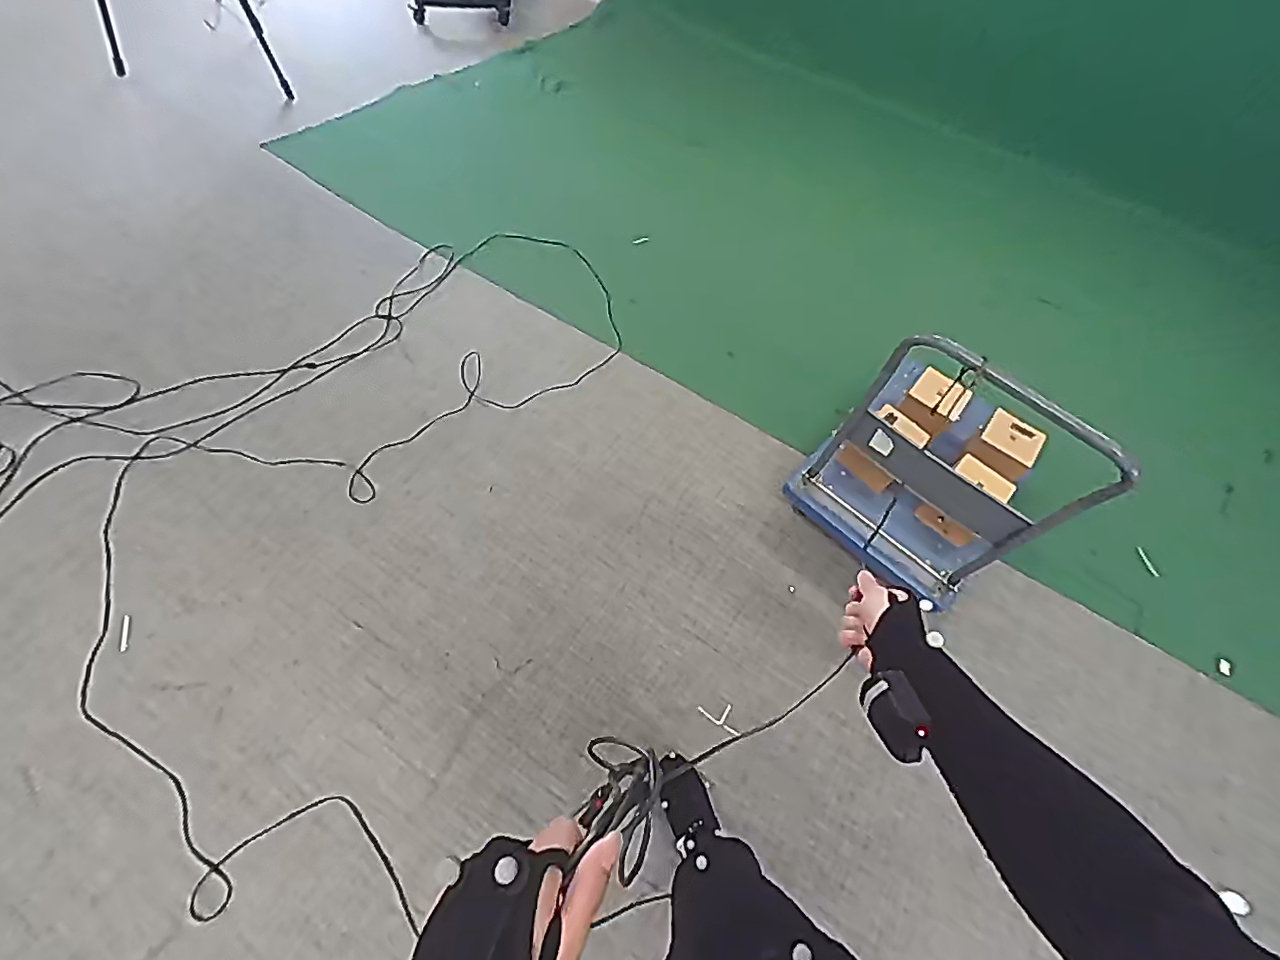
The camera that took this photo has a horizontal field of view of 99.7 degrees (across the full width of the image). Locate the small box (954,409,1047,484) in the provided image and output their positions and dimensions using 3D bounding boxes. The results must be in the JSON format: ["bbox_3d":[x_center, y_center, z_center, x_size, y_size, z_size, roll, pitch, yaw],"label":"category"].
[{"bbox_3d":[1.166,-0.090,1.759,0.168,0.176,0.179,37,61,16],"label":"small box"}]

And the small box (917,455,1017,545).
[{"bbox_3d":[0.981,0.064,1.635,0.168,0.176,0.179,42,62,18],"label":"small box"}]
